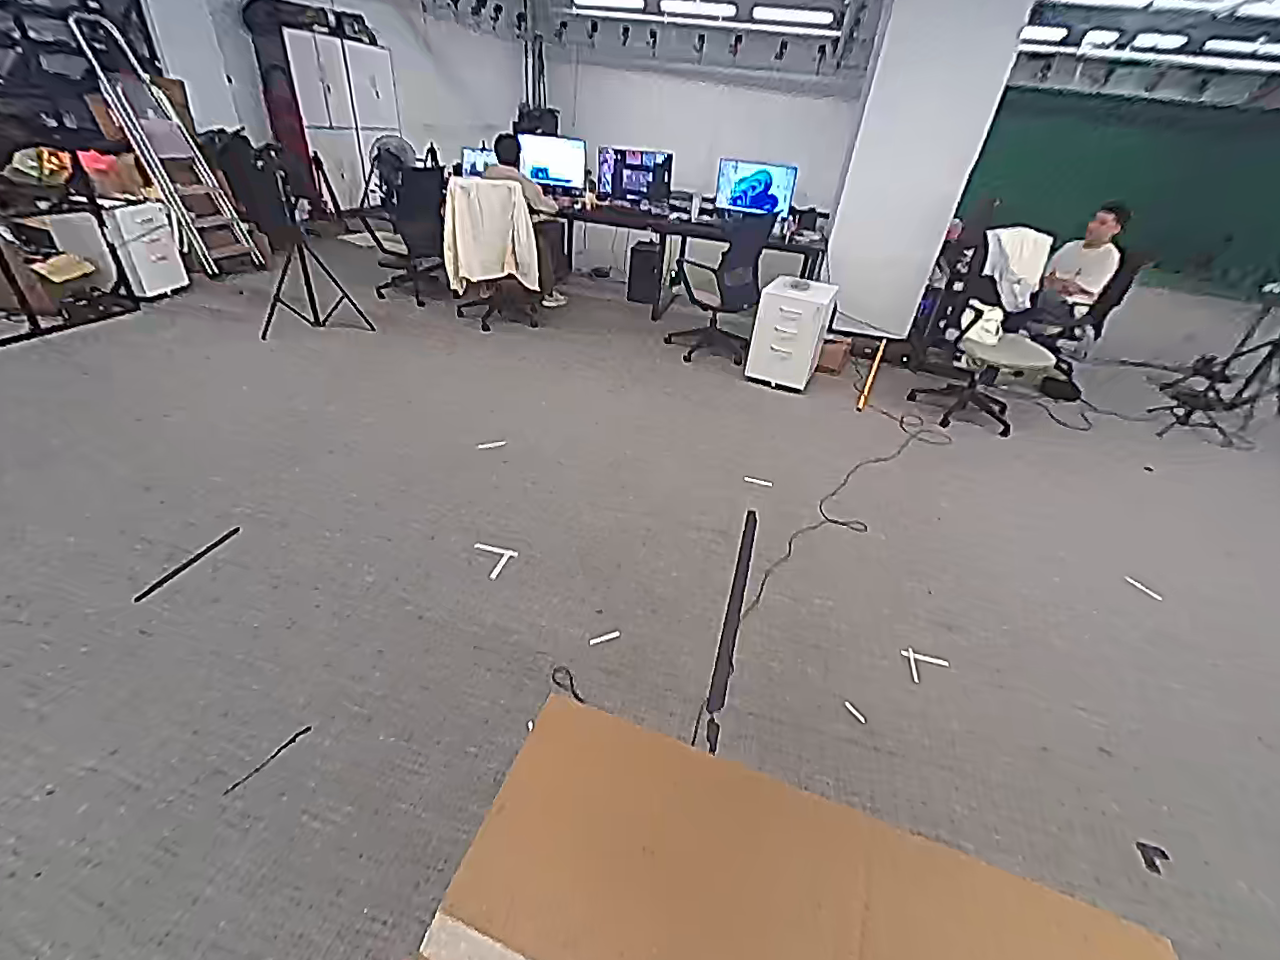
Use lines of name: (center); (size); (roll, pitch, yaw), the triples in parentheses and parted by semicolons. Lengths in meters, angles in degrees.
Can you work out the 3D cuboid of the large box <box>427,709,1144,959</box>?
large box: (0.064, 0.432, 0.384); (0.408, 0.320, 0.320); (14, 48, 17)
